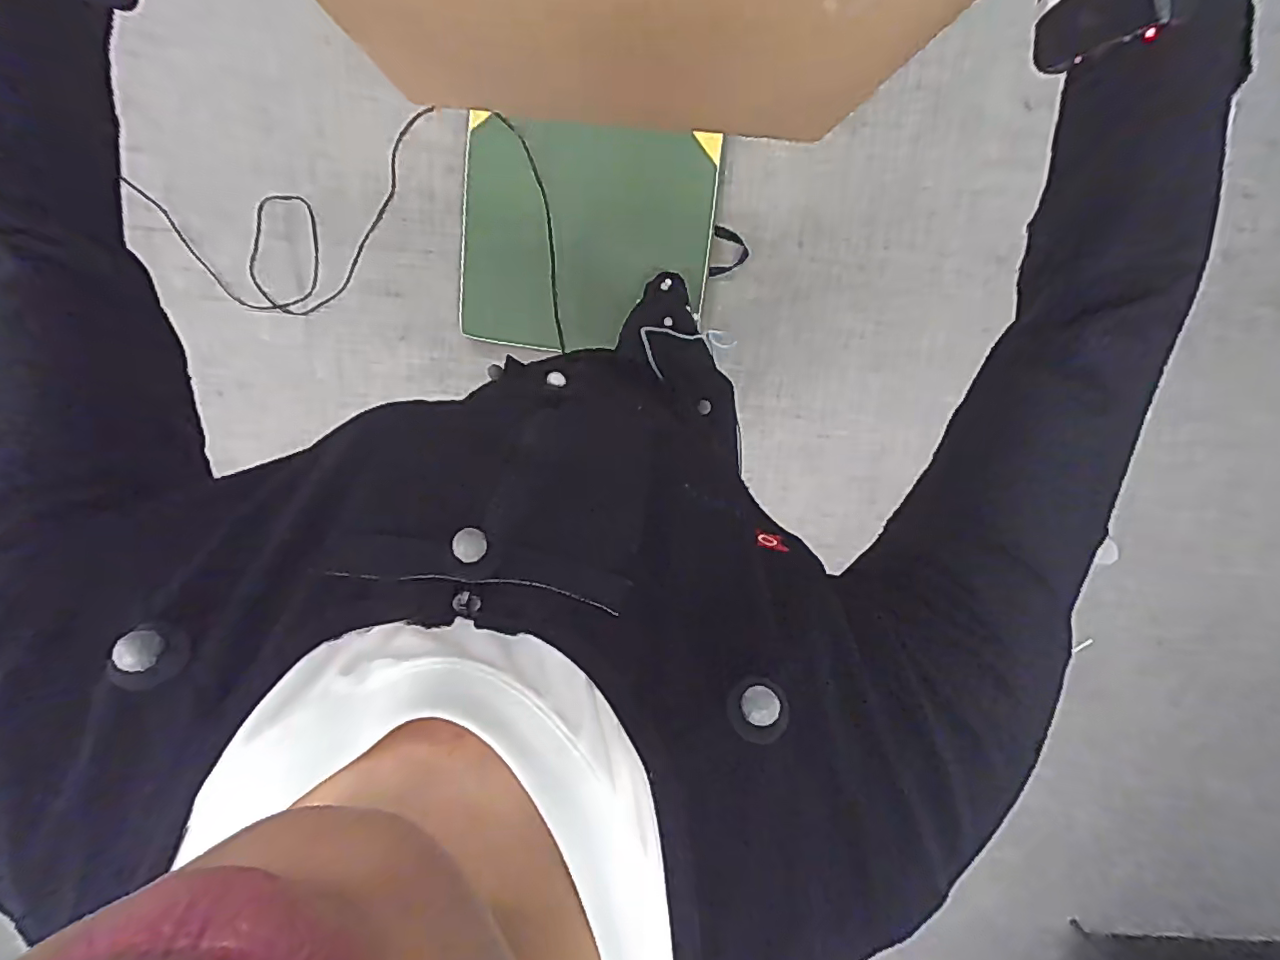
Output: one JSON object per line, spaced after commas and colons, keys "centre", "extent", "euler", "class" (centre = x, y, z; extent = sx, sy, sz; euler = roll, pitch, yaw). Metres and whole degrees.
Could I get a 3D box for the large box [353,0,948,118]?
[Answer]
{"centre": [0.003, -0.466, 0.342], "extent": [0.408, 0.320, 0.320], "euler": [2, 107, -5], "class": "large box"}
